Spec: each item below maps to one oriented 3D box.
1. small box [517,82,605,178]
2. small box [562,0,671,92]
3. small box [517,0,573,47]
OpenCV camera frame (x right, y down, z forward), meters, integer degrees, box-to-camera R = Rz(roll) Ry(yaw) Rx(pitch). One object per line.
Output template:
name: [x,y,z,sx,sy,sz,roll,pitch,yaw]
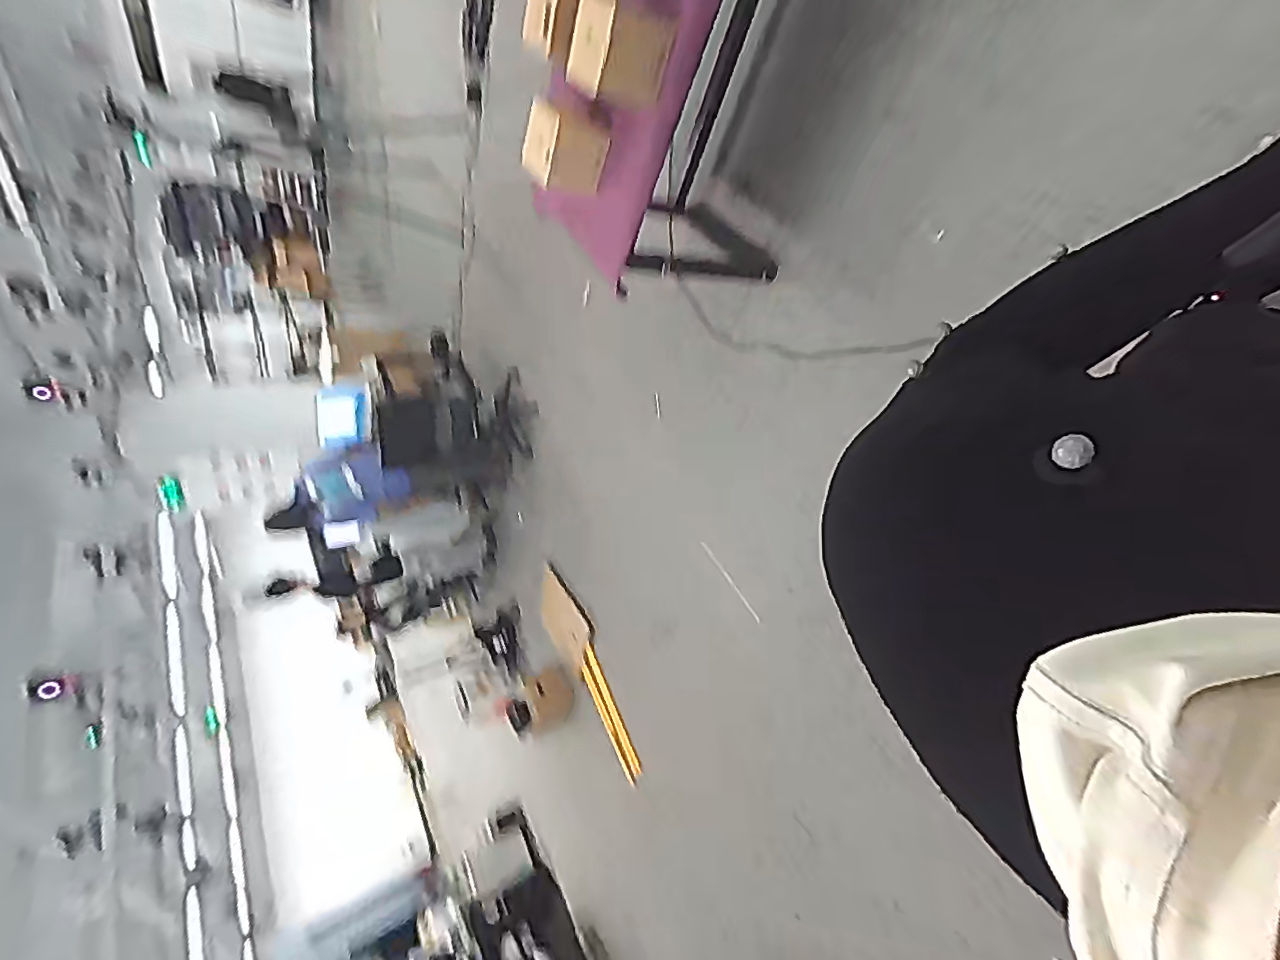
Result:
small box: [-0.223,-0.975,1.520,0.179,0.176,0.168,56,140,29]
small box: [-0.057,-1.048,1.272,0.179,0.176,0.168,55,139,31]
small box: [-0.199,-1.251,1.414,0.179,0.176,0.168,55,138,30]
